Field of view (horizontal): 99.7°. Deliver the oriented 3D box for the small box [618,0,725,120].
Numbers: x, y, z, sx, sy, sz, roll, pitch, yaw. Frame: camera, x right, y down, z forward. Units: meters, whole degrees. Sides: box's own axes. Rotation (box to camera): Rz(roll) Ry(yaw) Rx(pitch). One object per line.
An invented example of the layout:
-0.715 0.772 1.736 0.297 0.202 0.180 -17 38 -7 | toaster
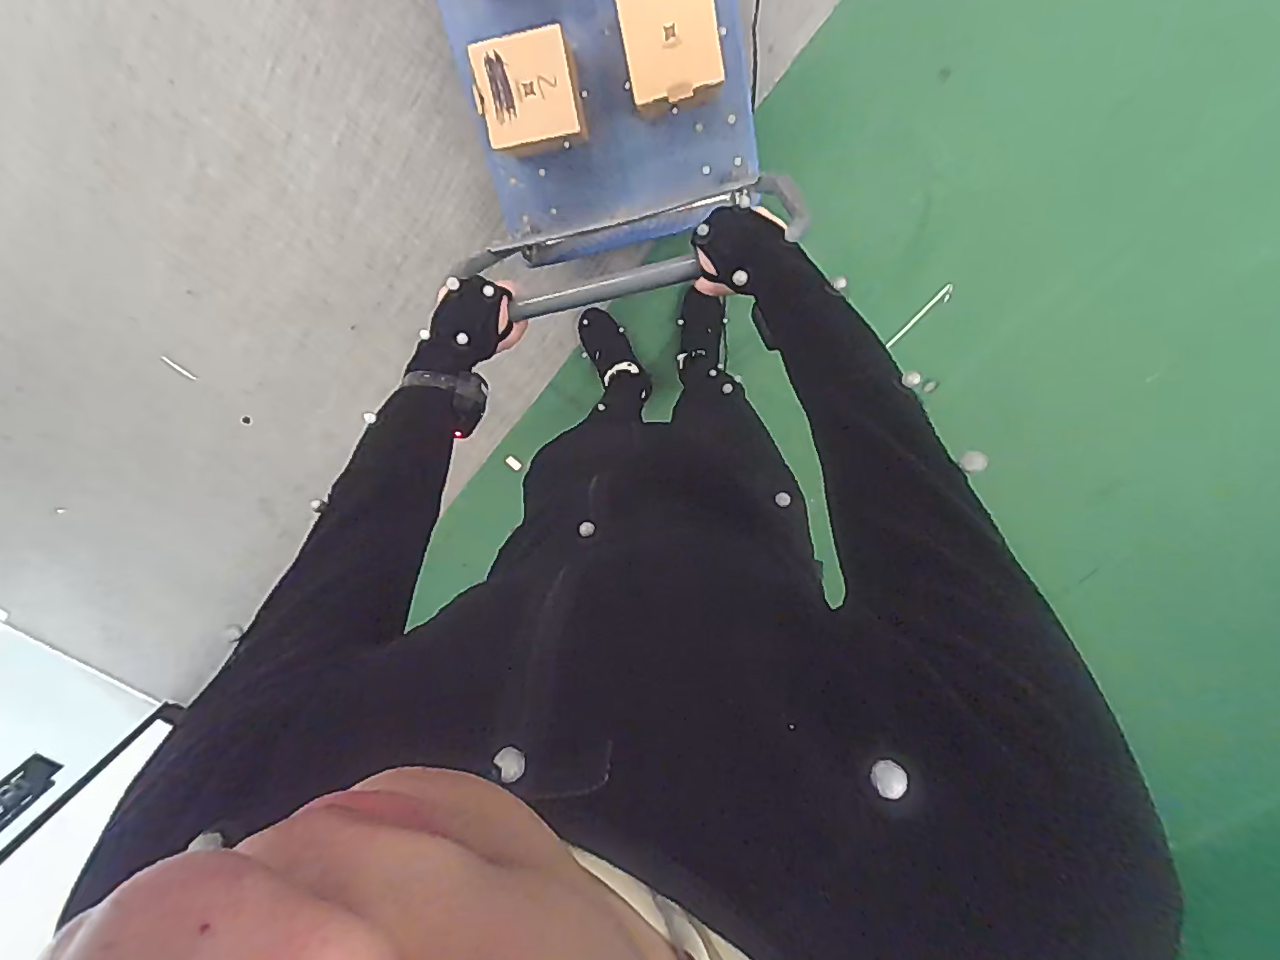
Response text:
0.058 -0.807 1.015 0.168 0.176 0.179 -11 116 8 | small box
